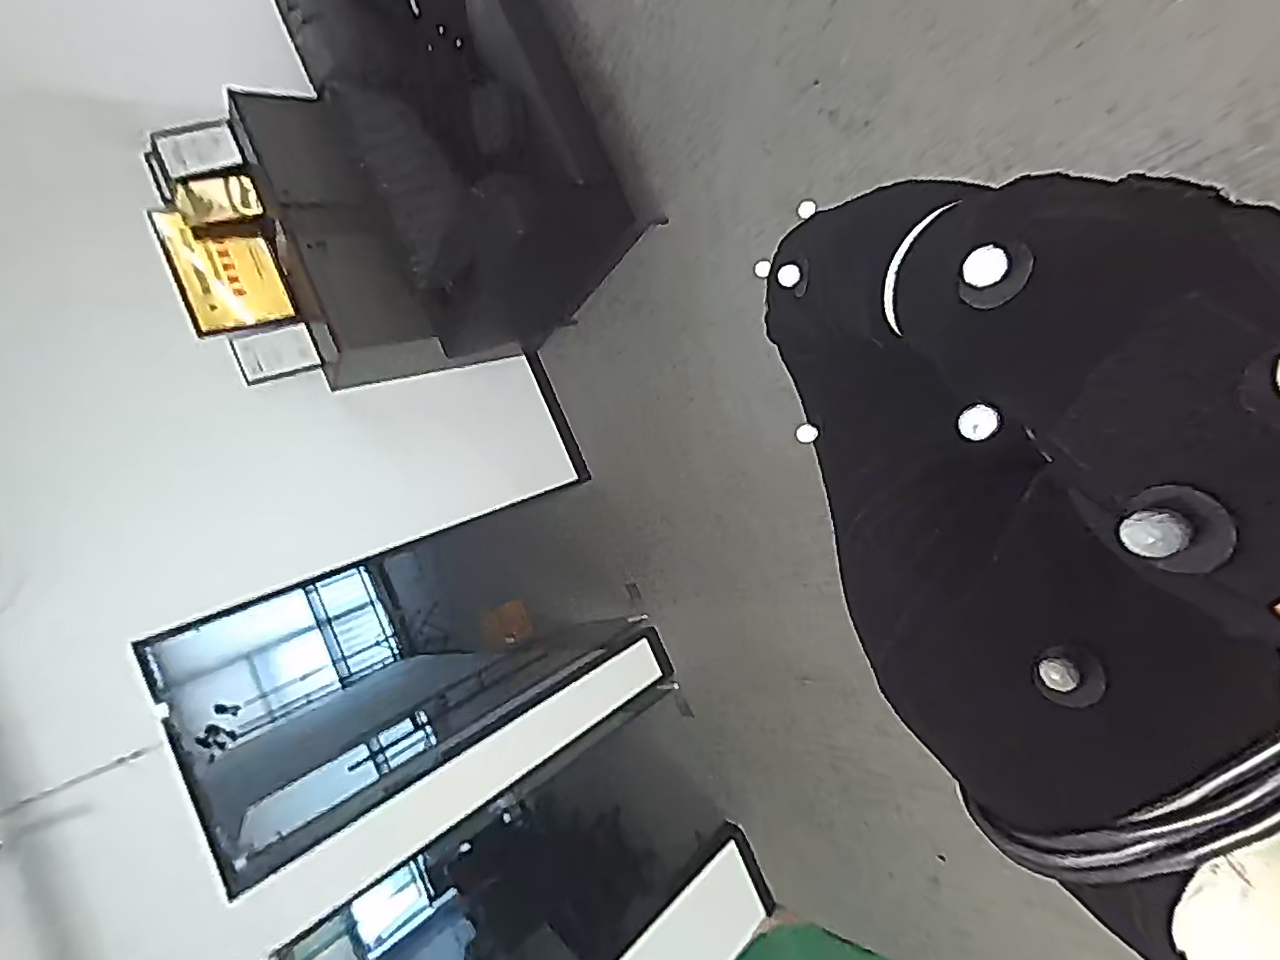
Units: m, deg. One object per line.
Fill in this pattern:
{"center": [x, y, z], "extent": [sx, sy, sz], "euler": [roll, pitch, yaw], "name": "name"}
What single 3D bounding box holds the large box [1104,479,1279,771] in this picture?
{"center": [1.108, 0.238, 0.947], "extent": [0.320, 0.320, 0.408], "euler": [-22, 90, 54], "name": "large box"}
